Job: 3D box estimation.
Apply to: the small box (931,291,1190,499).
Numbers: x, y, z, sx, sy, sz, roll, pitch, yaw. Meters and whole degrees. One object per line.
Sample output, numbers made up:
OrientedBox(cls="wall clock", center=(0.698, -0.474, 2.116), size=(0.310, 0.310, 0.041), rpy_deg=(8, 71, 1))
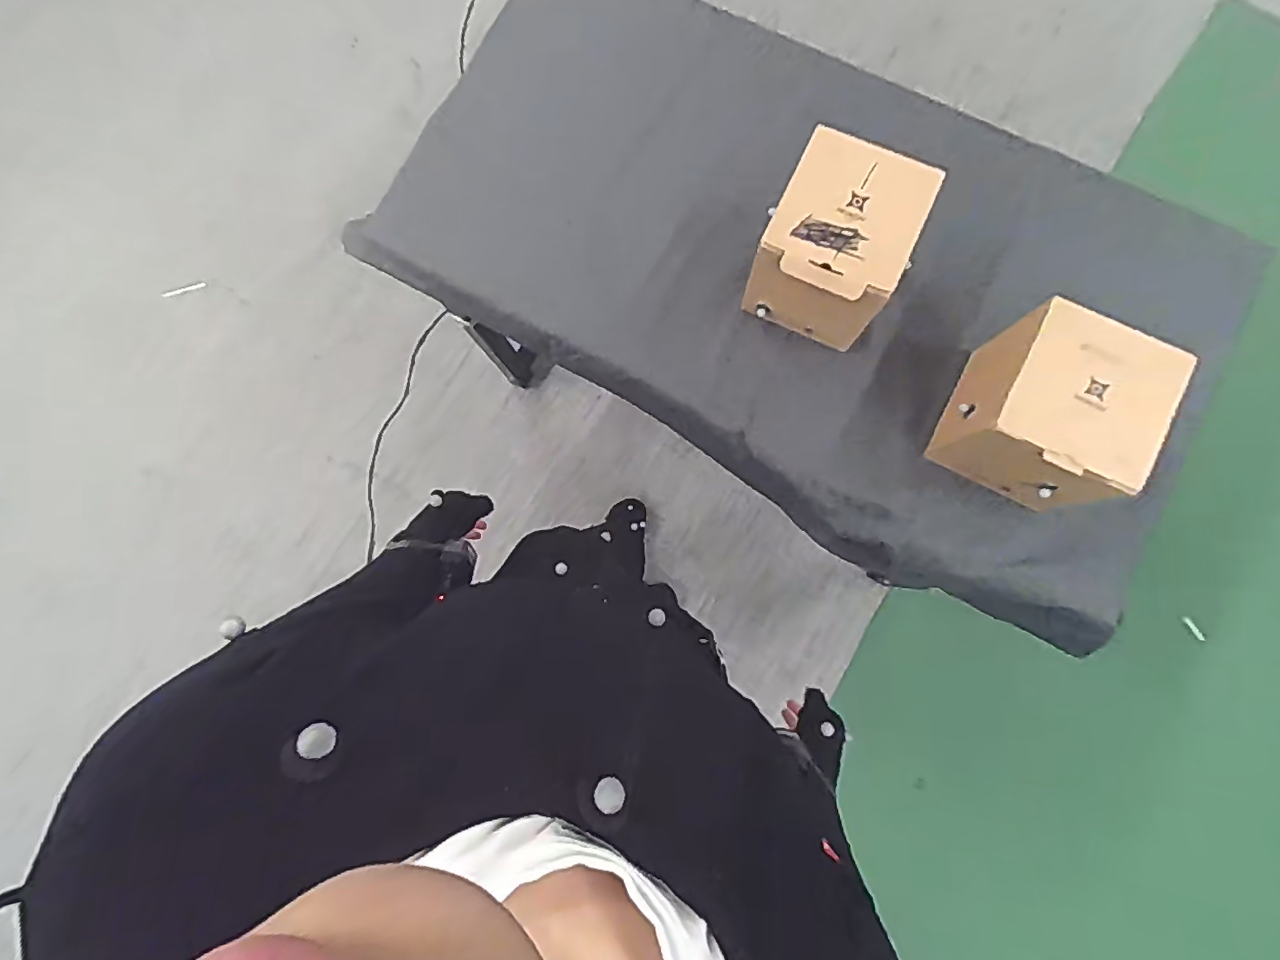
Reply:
OrientedBox(cls="small box", center=(0.500, -0.091, 0.674), size=(0.168, 0.176, 0.179), rpy_deg=(27, 83, 5))

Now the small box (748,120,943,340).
OrientedBox(cls="small box", center=(0.254, -0.314, 0.716), size=(0.168, 0.176, 0.179), rpy_deg=(25, 83, 6))
